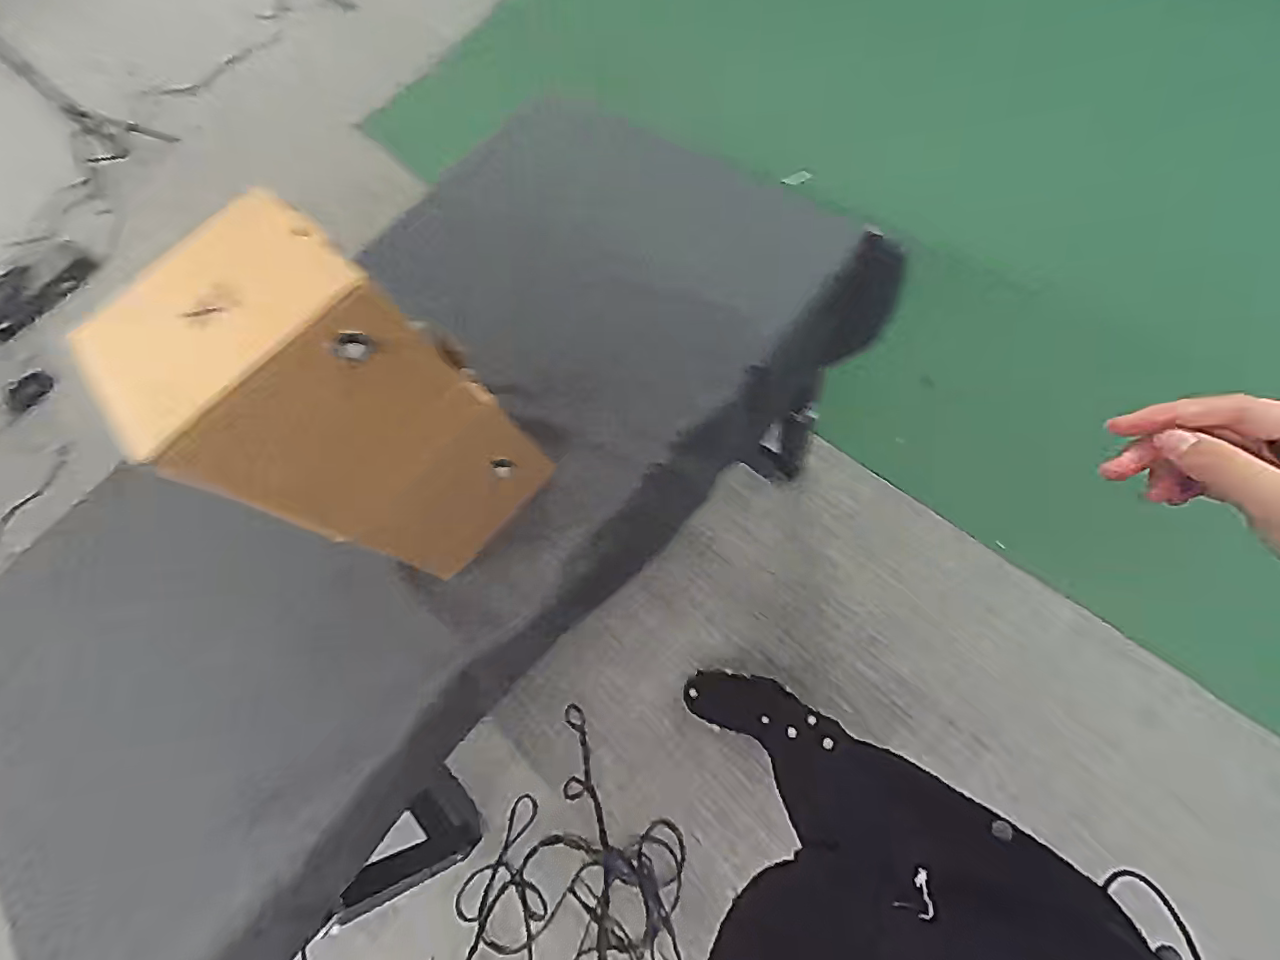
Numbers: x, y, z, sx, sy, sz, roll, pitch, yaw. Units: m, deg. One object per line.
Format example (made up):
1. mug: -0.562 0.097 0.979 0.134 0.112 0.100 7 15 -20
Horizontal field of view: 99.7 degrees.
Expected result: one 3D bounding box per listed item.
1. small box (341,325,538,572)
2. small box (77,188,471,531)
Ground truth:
1. small box: -0.233 -0.027 0.585 0.168 0.176 0.179 38 81 25
2. small box: -0.276 -0.085 0.439 0.168 0.176 0.179 40 80 25
